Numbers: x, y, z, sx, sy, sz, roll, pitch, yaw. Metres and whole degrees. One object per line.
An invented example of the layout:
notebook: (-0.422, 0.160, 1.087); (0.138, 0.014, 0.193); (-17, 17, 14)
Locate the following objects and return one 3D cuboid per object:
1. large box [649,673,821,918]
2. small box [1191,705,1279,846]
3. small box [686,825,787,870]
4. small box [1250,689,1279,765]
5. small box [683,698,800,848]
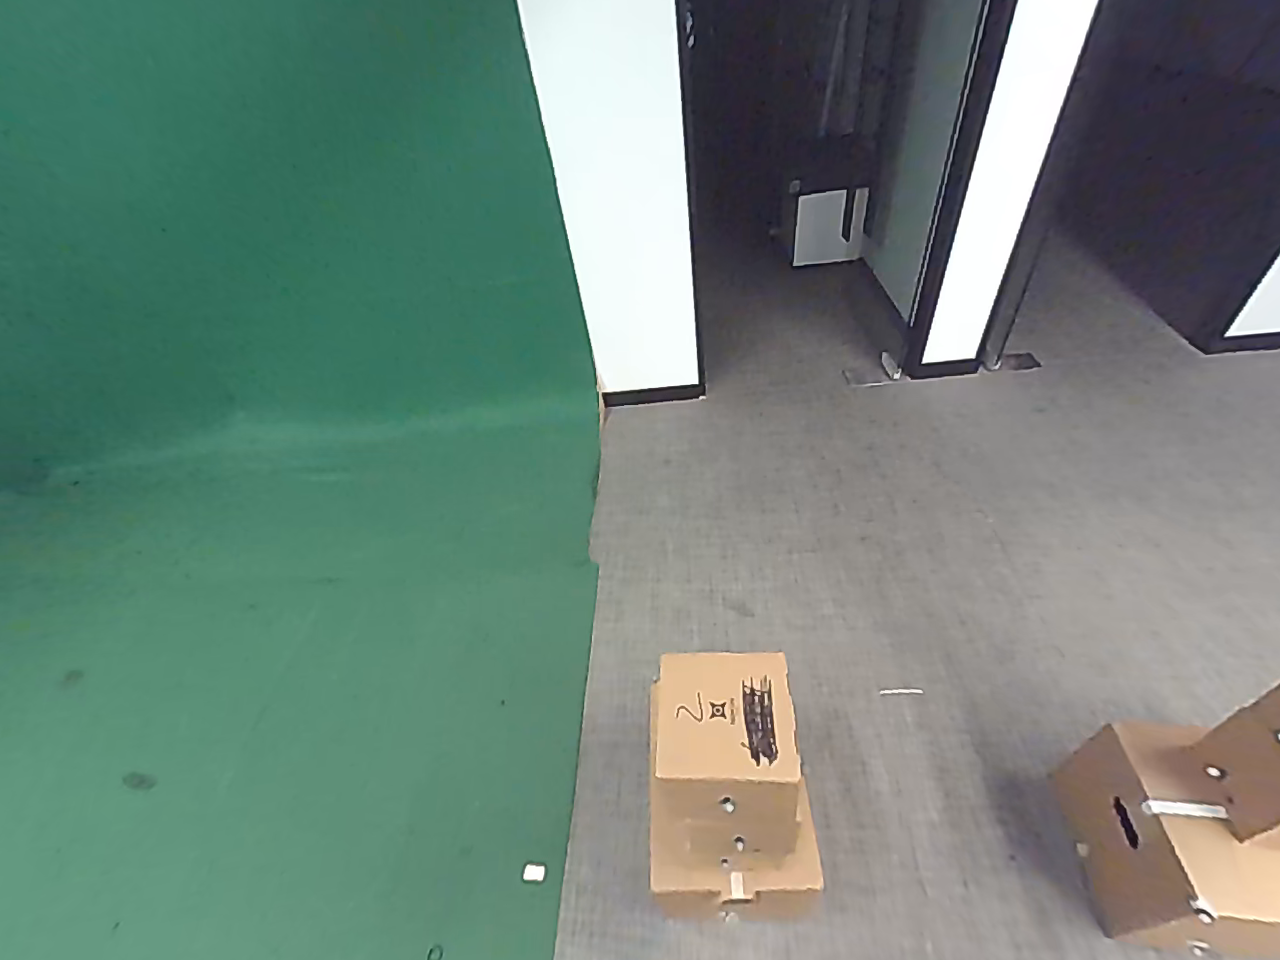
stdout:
large box: (0.194, 0.704, 1.215); (0.320, 0.320, 0.408); (-5, 43, 5)
small box: (1.104, 0.502, 0.902); (0.179, 0.176, 0.168); (2, 43, 13)
small box: (0.172, 0.589, 0.984); (0.168, 0.176, 0.179); (-4, 43, 7)
small box: (1.086, 0.384, 0.789); (0.179, 0.176, 0.168); (3, 43, 14)
small box: (0.158, 0.472, 0.869); (0.168, 0.176, 0.179); (-3, 43, 7)
